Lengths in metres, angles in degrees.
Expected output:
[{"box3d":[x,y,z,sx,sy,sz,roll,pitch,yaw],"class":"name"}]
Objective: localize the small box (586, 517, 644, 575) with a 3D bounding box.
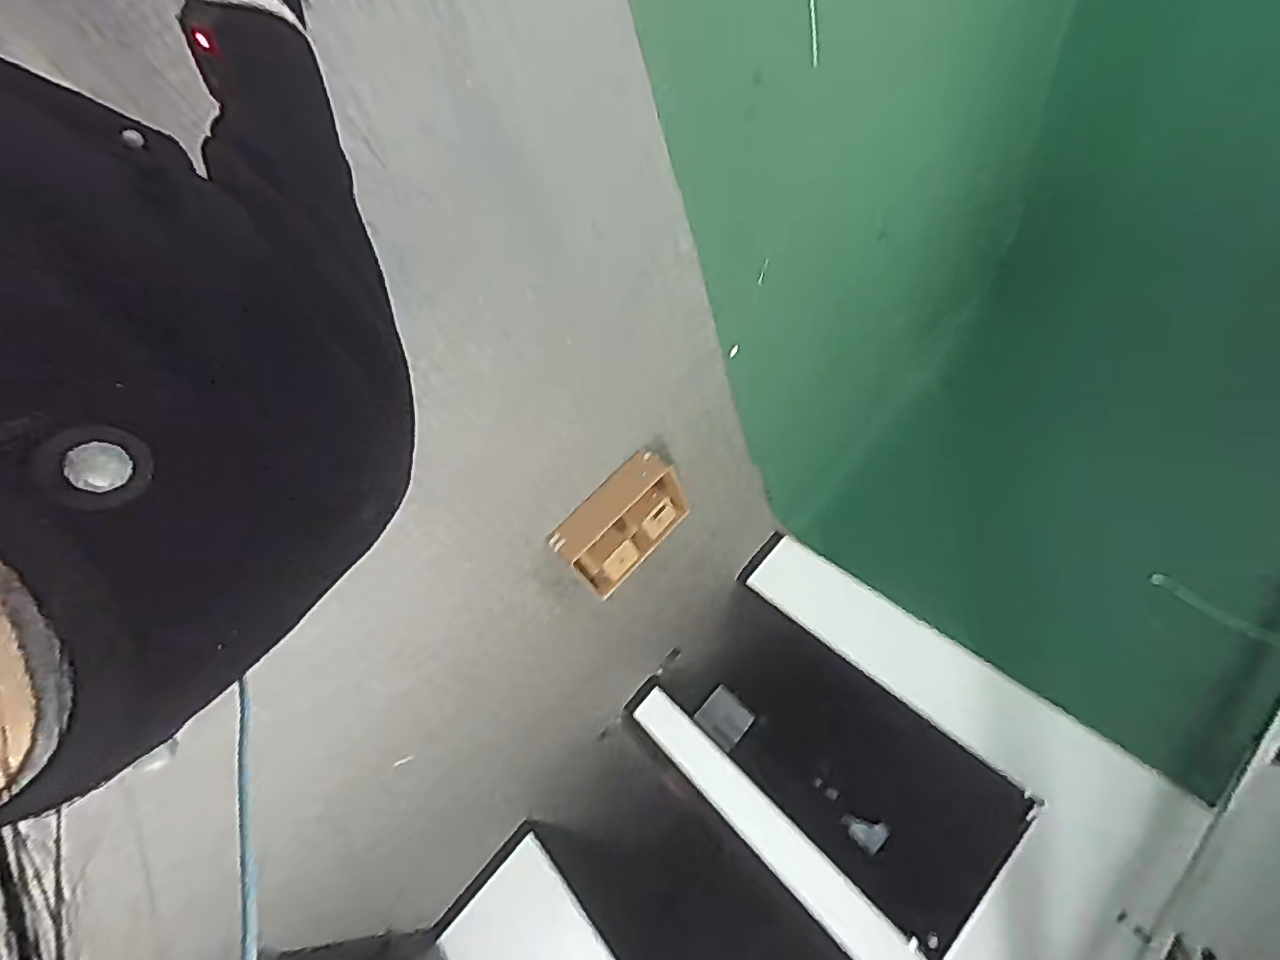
[{"box3d":[-0.114,0.294,2.441,0.168,0.176,0.179,-46,142,-14],"class":"small box"}]
